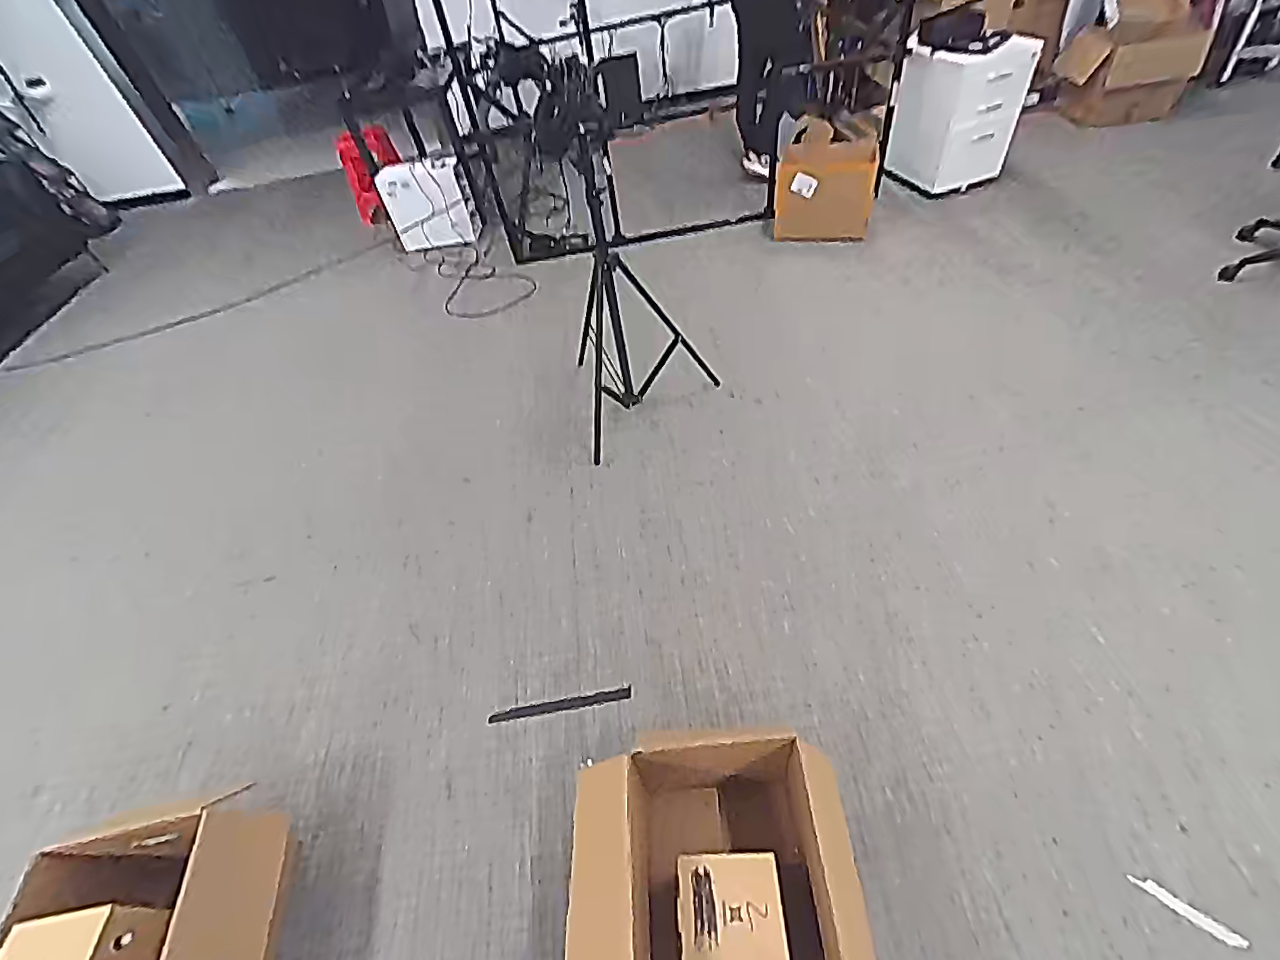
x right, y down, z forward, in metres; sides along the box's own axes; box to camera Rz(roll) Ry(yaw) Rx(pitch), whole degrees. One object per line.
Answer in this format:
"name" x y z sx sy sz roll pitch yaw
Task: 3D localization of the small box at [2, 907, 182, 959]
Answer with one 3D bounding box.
"small box" -0.913 0.830 0.886 0.168 0.176 0.179 -12 48 0
